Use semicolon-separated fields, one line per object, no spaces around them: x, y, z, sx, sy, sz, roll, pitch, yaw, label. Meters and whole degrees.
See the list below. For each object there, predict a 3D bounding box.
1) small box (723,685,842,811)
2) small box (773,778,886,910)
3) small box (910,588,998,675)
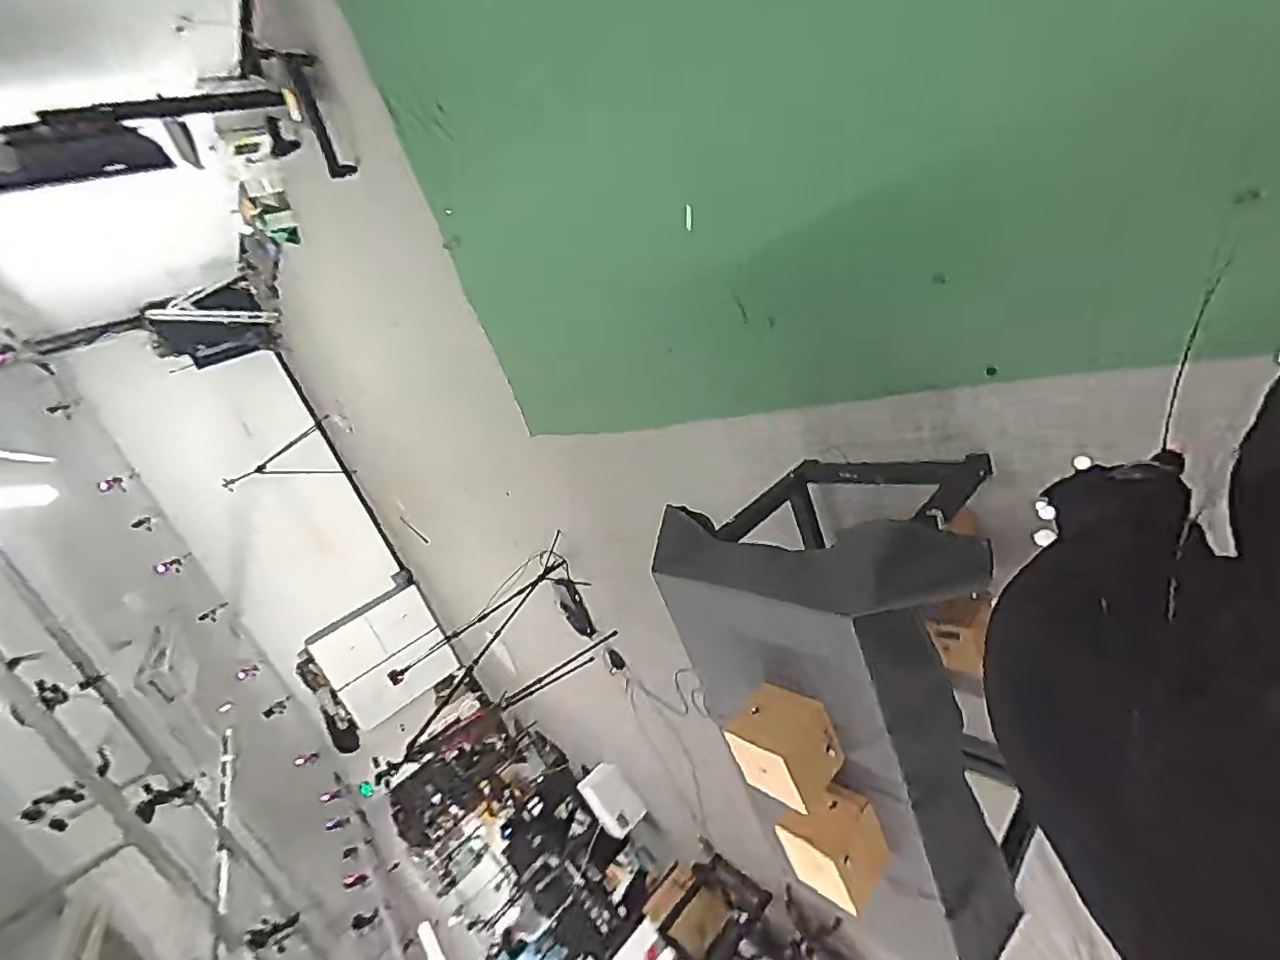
0.330;0.603;1.244;0.179;0.176;0.168;-3;116;54;small box
0.457;0.851;1.290;0.168;0.176;0.179;-7;112;55;small box
0.955;0.449;1.639;0.168;0.176;0.179;-2;117;54;small box
